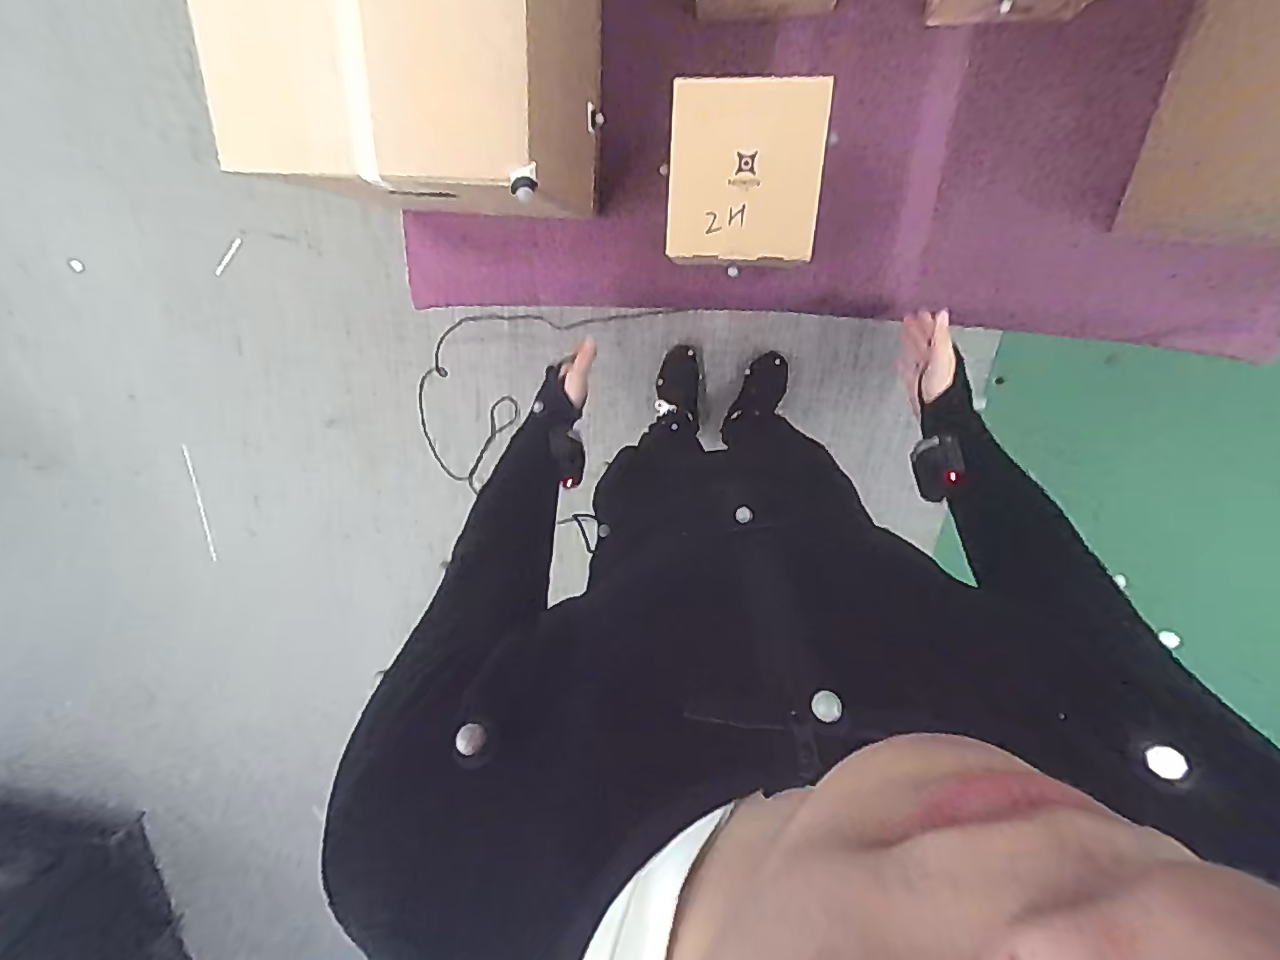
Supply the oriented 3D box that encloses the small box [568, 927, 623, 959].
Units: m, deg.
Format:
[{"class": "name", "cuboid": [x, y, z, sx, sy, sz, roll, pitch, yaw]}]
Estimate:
[{"class": "small box", "cuboid": [-0.151, 1.602, 1.754, 0.168, 0.176, 0.179, 4, 112, 6]}]
